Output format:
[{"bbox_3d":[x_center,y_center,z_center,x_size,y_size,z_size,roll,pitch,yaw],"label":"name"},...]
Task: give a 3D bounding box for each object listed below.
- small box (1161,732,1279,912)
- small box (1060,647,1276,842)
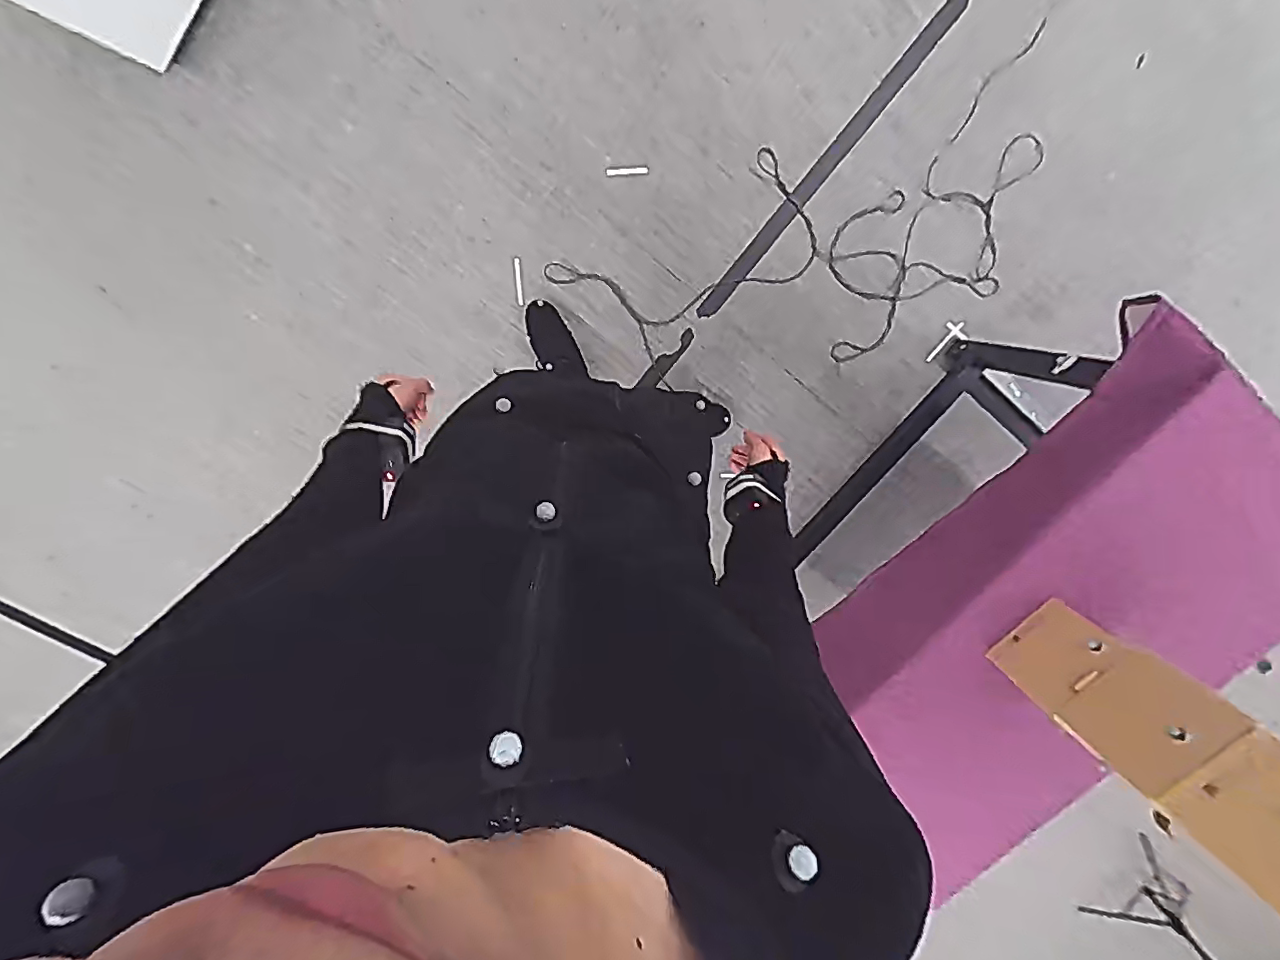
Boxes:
[{"bbox_3d":[0.826,0.452,0.674,0.179,0.176,0.168,38,103,-17],"label":"small box"},{"bbox_3d":[0.809,0.393,0.825,0.168,0.176,0.179,38,103,-15],"label":"small box"}]
